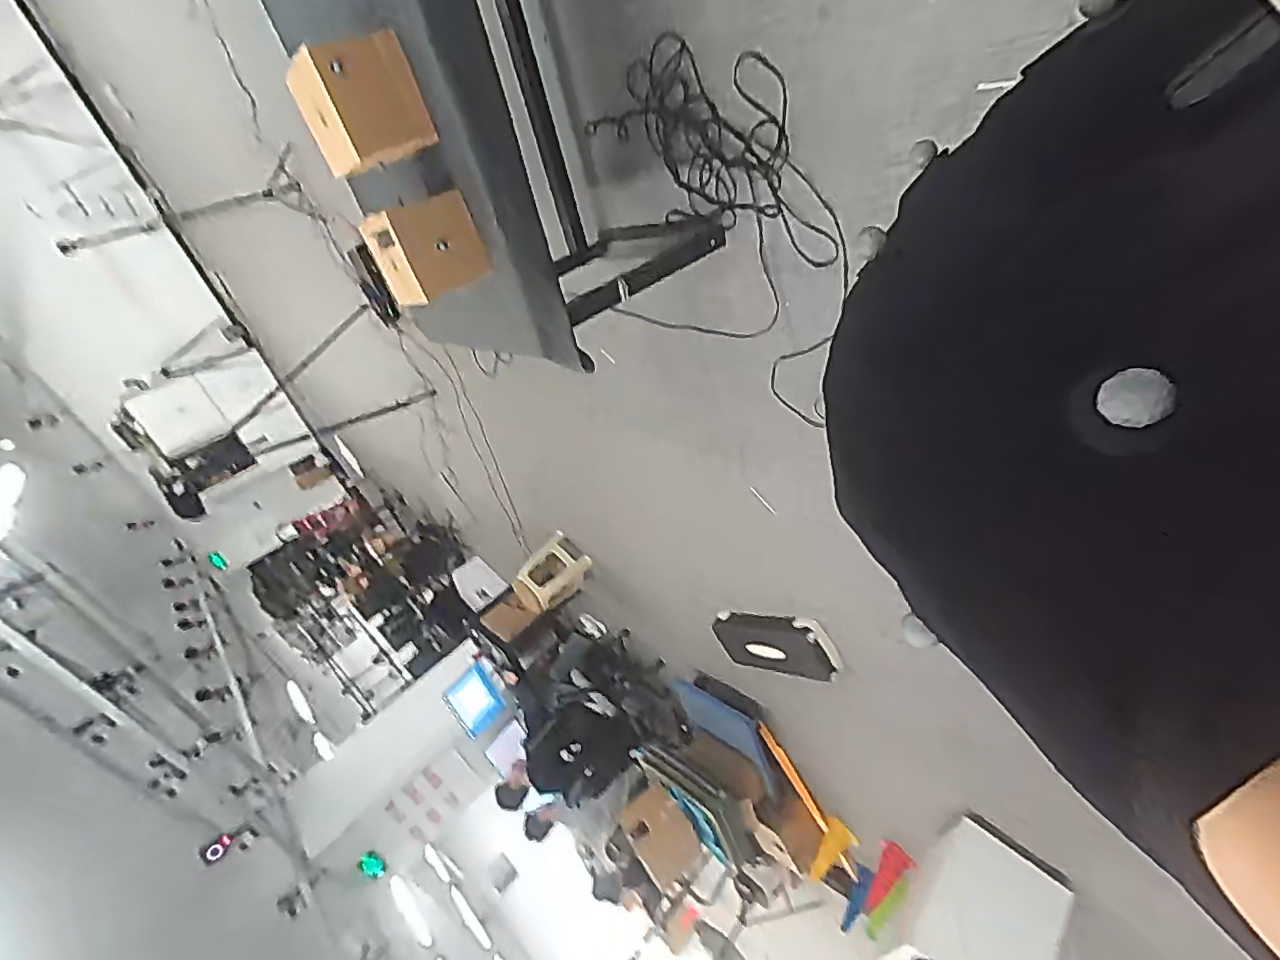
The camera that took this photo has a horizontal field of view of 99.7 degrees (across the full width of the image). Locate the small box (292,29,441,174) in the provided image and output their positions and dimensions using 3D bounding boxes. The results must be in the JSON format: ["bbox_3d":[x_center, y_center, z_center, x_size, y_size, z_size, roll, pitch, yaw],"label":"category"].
[{"bbox_3d":[-0.507,-0.708,1.018,0.168,0.176,0.179,16,134,46],"label":"small box"}]
